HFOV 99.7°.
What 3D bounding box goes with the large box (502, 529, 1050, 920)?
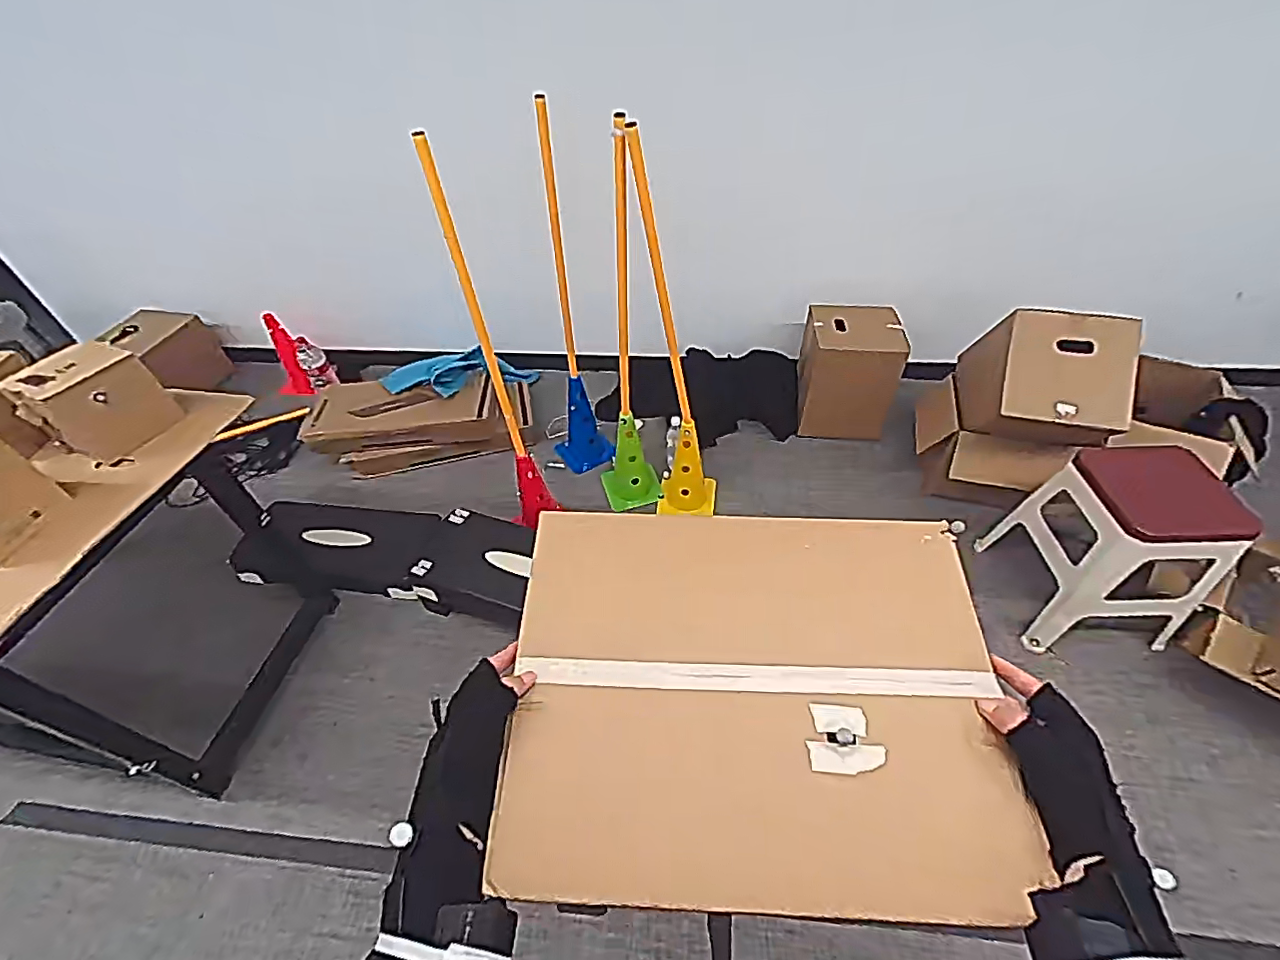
[{"bbox_3d":[0.099,0.262,0.592,0.408,0.320,0.320,1,57,2],"label":"large box"}]
